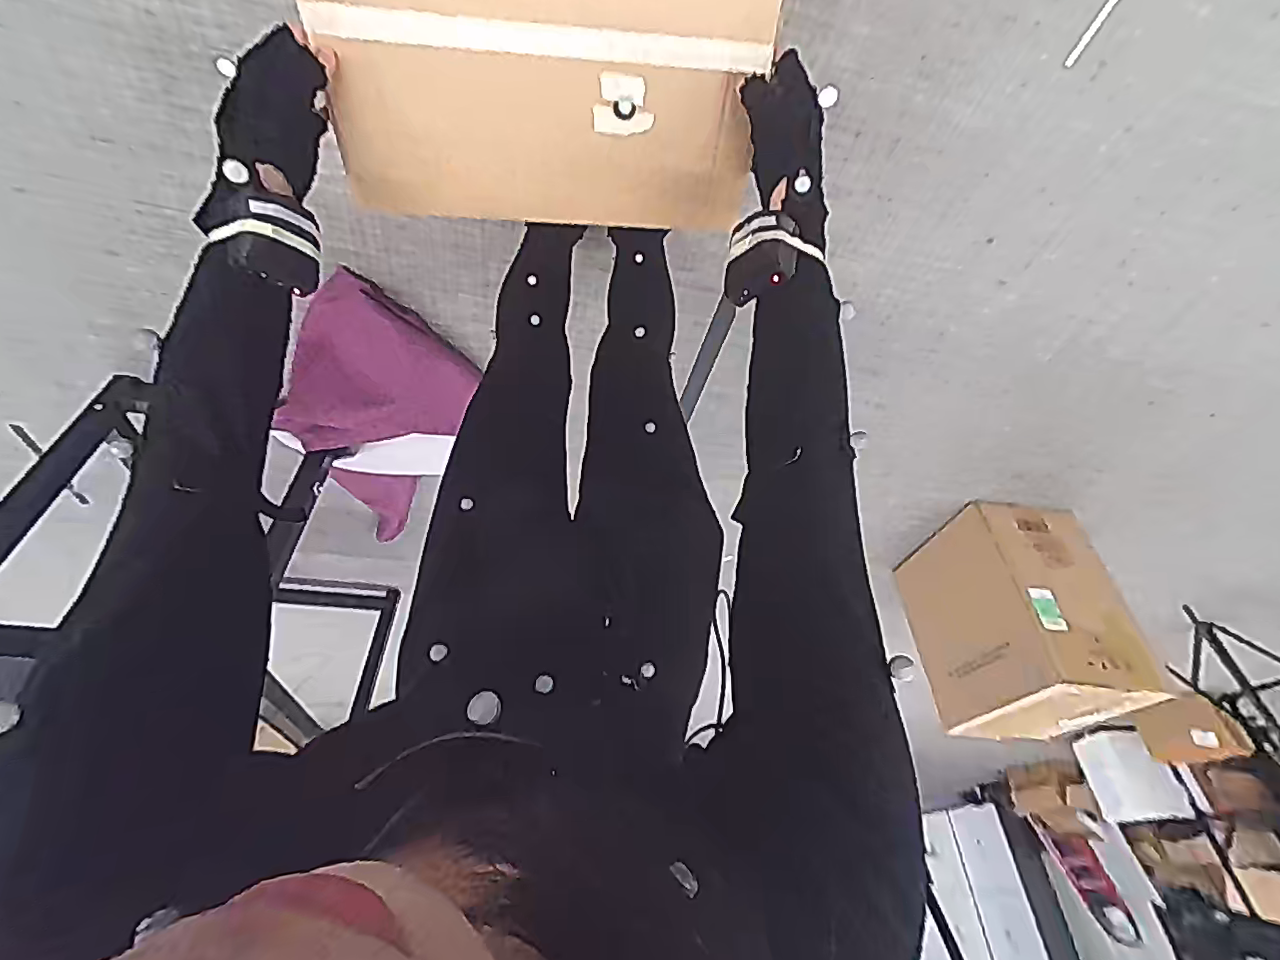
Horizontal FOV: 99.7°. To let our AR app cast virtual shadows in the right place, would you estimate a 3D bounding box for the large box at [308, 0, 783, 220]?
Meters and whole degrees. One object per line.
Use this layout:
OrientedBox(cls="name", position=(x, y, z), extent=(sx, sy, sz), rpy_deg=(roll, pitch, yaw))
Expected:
OrientedBox(cls="large box", position=(-0.093, -0.492, 0.571), extent=(0.408, 0.320, 0.320), rpy_deg=(-1, 135, -8))
